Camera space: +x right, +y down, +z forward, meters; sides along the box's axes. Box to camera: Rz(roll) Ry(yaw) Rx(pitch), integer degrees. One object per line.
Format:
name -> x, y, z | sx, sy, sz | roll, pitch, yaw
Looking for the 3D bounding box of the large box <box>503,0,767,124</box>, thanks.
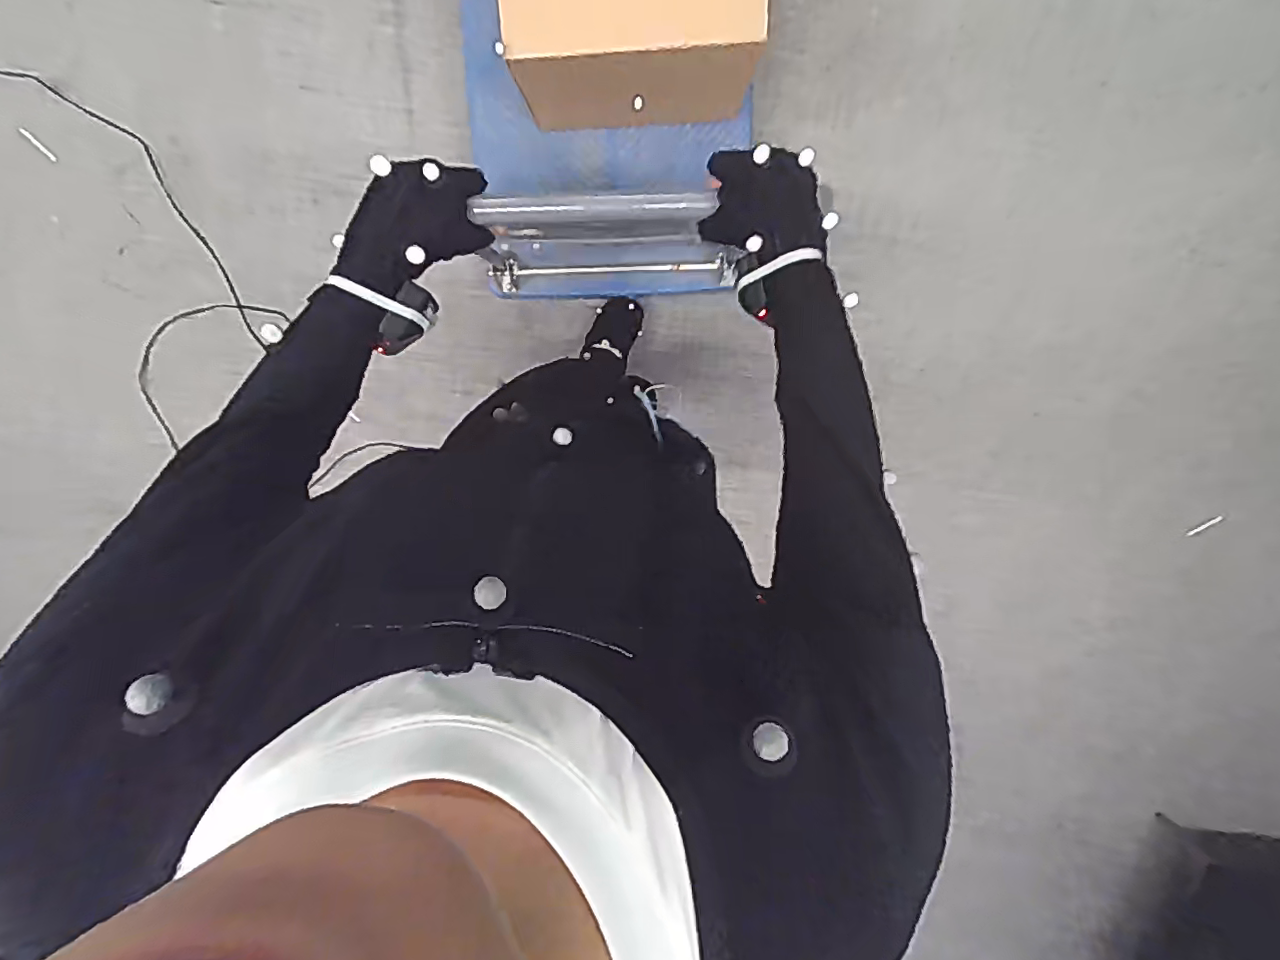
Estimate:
large box -> -0.010, -0.855, 0.933 | 0.408, 0.320, 0.320 | -3, 105, 3
